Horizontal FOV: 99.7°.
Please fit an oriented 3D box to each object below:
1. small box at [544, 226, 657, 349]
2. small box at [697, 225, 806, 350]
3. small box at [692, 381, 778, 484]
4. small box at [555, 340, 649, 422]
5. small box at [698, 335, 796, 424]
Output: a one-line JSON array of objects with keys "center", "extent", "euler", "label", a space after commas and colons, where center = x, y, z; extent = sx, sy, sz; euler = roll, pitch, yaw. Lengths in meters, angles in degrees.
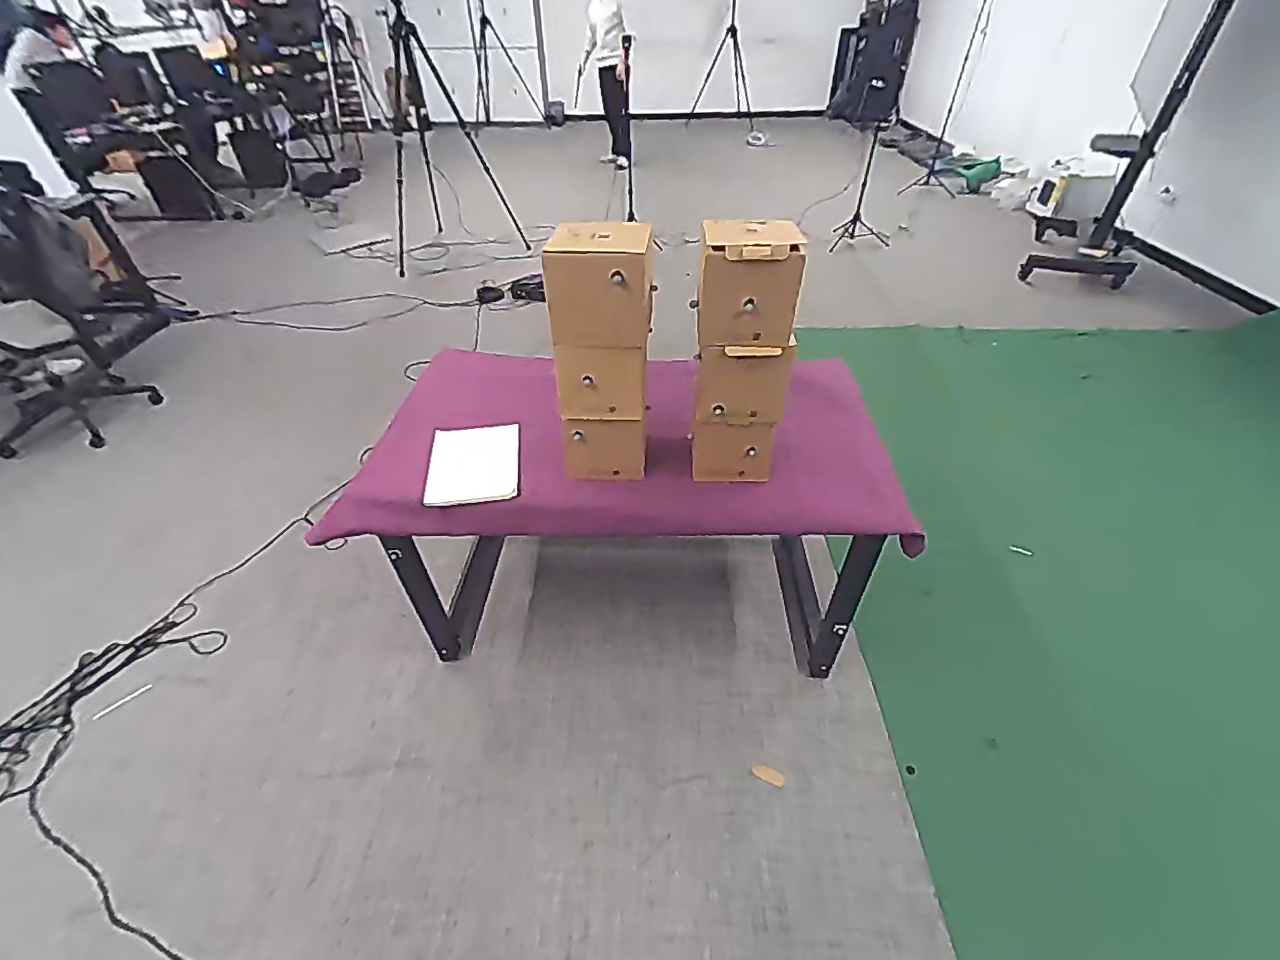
[{"center": [-0.063, -0.352, 0.991], "extent": [0.179, 0.176, 0.168], "euler": [2, 40, 5], "label": "small box"}, {"center": [0.194, -0.351, 0.987], "extent": [0.168, 0.176, 0.179], "euler": [3, 42, 2], "label": "small box"}, {"center": [0.204, -0.105, 1.205], "extent": [0.168, 0.176, 0.179], "euler": [2, 41, 2], "label": "small box"}, {"center": [-0.069, -0.231, 1.104], "extent": [0.168, 0.176, 0.179], "euler": [1, 40, 3], "label": "small box"}, {"center": [0.208, -0.226, 1.094], "extent": [0.168, 0.176, 0.179], "euler": [2, 40, 1], "label": "small box"}]
